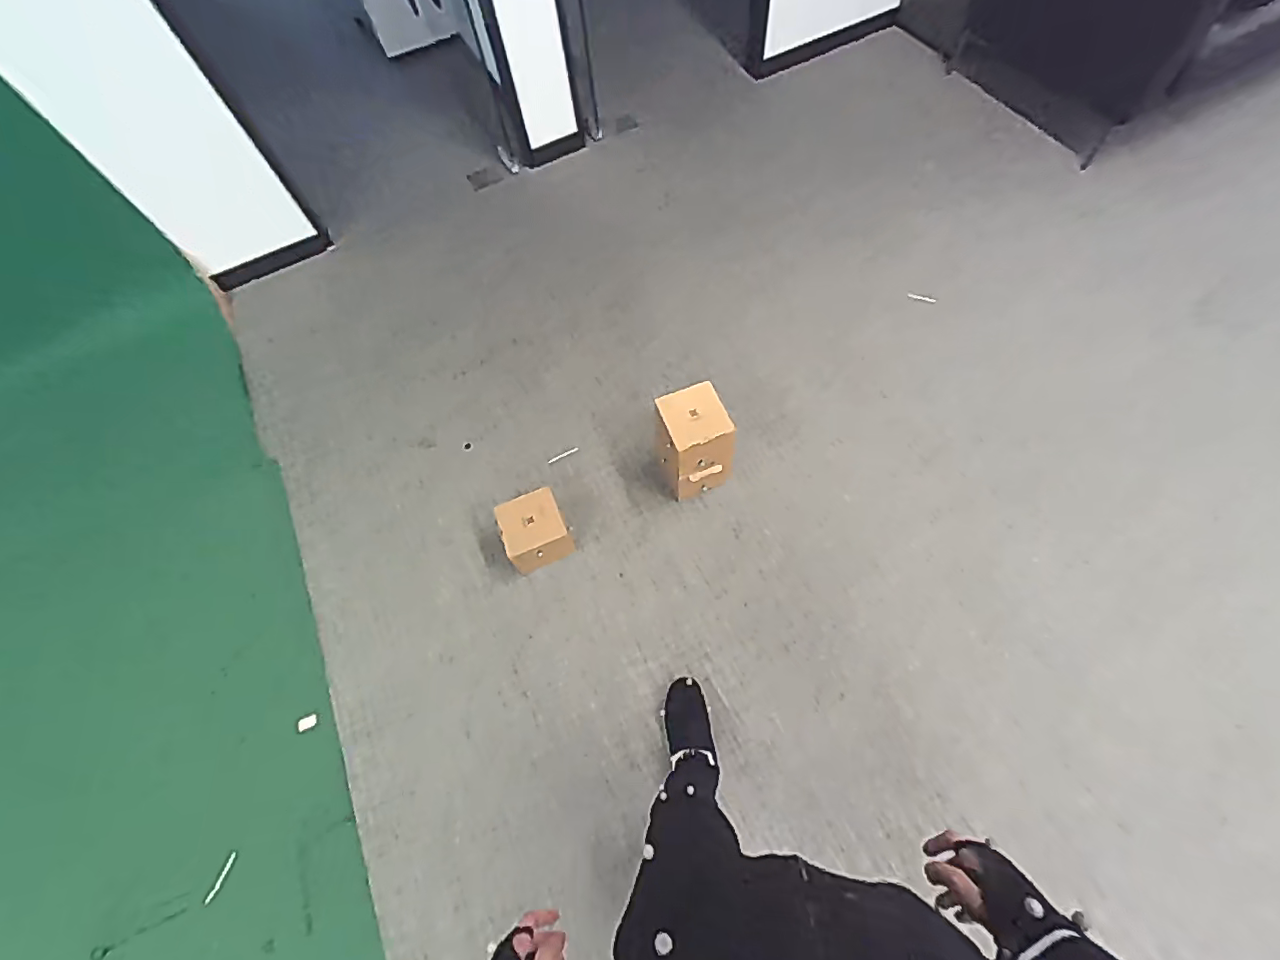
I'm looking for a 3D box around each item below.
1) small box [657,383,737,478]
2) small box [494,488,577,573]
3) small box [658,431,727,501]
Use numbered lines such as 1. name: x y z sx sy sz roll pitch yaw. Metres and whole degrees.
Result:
1. small box: 0.152 -0.135 1.506 0.168 0.176 0.179 -20 65 -6
2. small box: -0.302 0.153 1.587 0.179 0.176 0.168 -21 65 -6
3. small box: 0.158 -0.060 1.648 0.168 0.176 0.179 -16 65 -1
